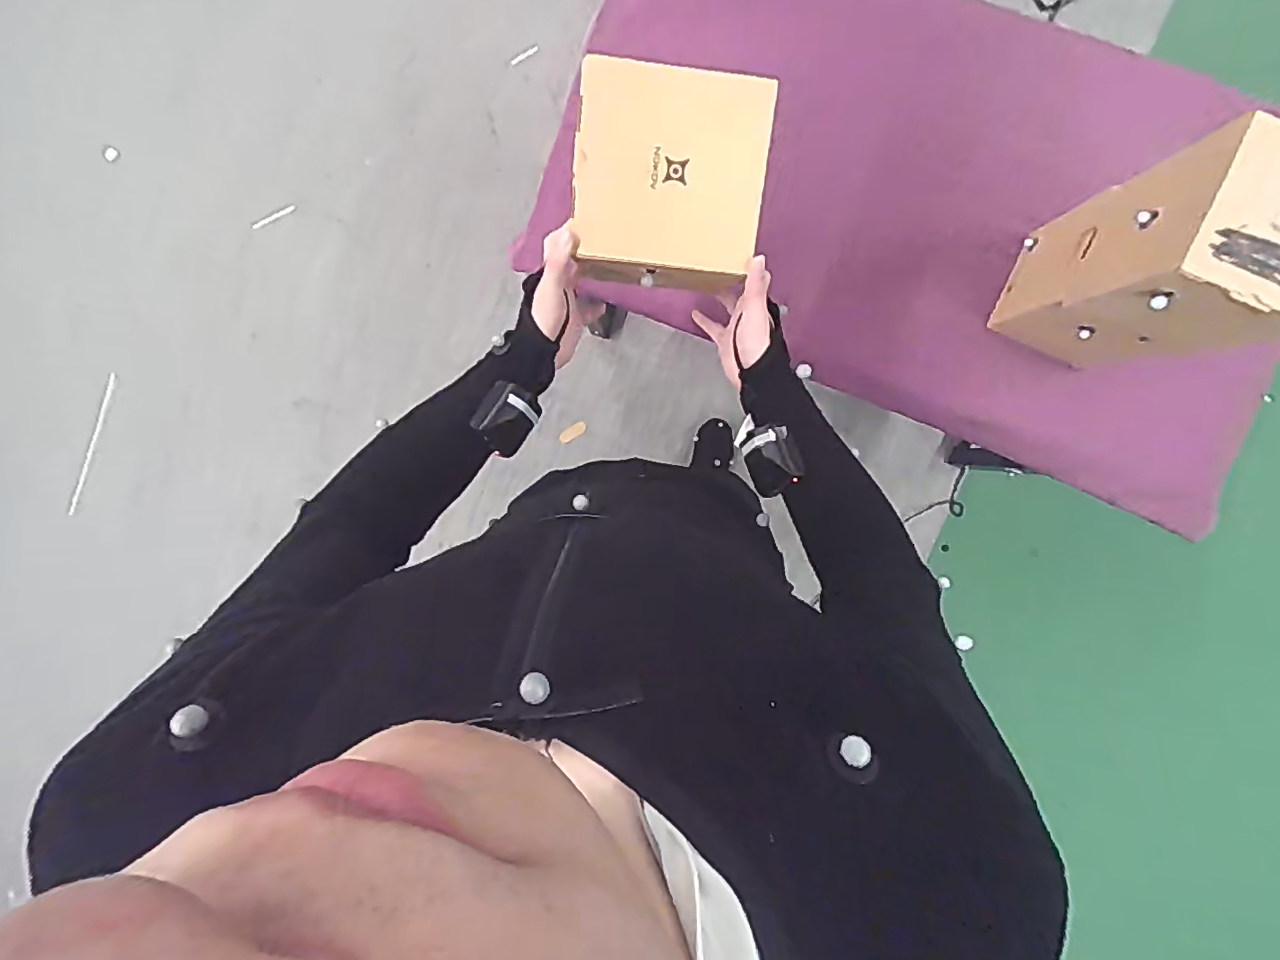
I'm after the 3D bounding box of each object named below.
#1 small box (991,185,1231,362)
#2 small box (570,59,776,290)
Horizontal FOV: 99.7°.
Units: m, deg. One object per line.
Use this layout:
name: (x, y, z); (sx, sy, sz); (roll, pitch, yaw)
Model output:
small box: (0.670, -0.287, 0.796); (0.179, 0.176, 0.168); (23, 94, -1)
small box: (0.026, -0.300, 0.570); (0.179, 0.176, 0.168); (5, 103, -2)
